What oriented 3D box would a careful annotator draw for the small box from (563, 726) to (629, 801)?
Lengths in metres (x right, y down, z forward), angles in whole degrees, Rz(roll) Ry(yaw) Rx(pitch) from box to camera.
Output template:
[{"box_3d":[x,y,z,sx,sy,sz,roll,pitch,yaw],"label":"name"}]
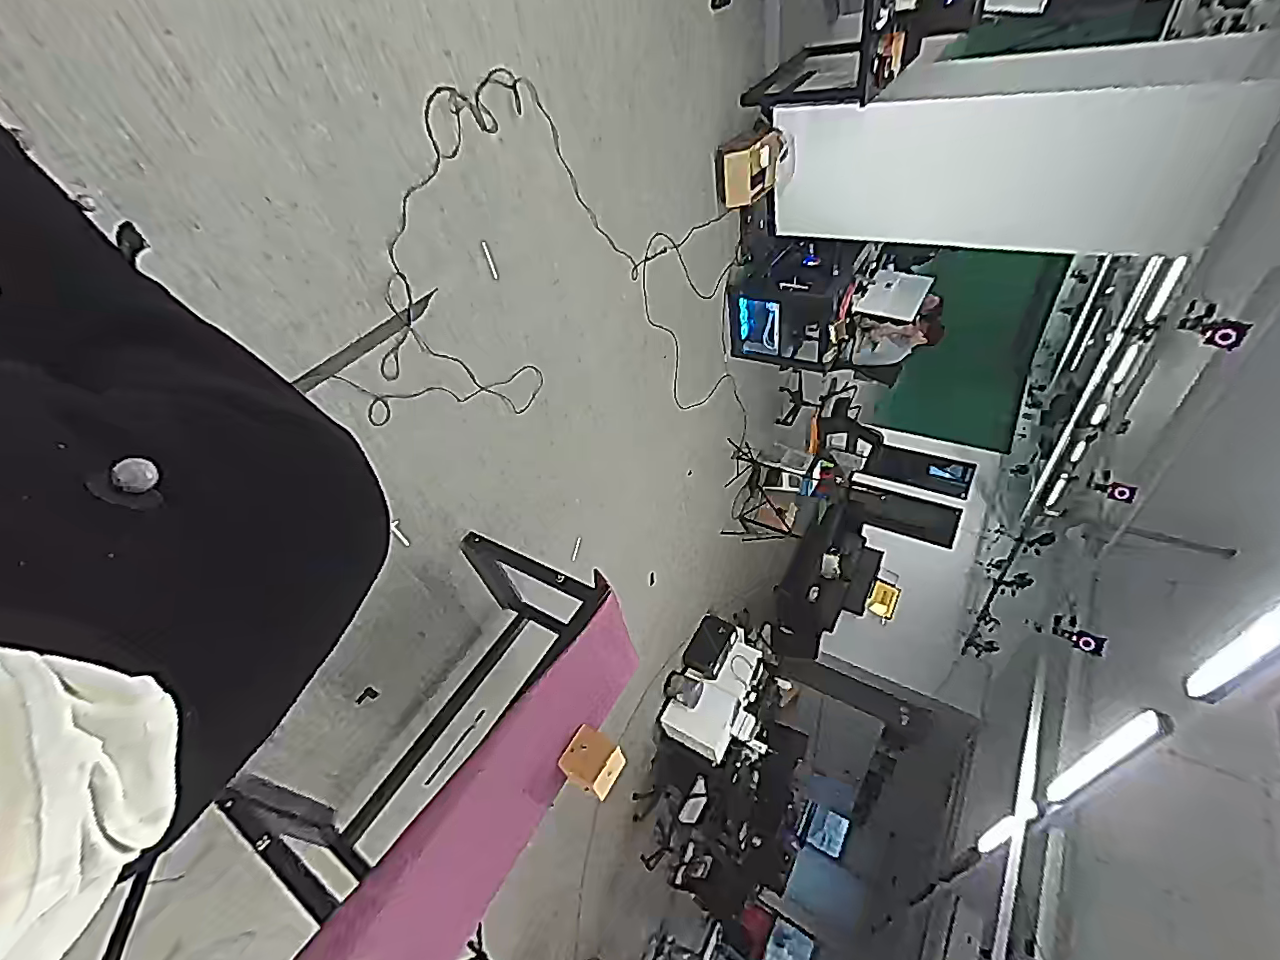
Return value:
[{"box_3d":[-0.167,1.072,2.054,0.168,0.176,0.179,-50,144,-33],"label":"small box"}]
